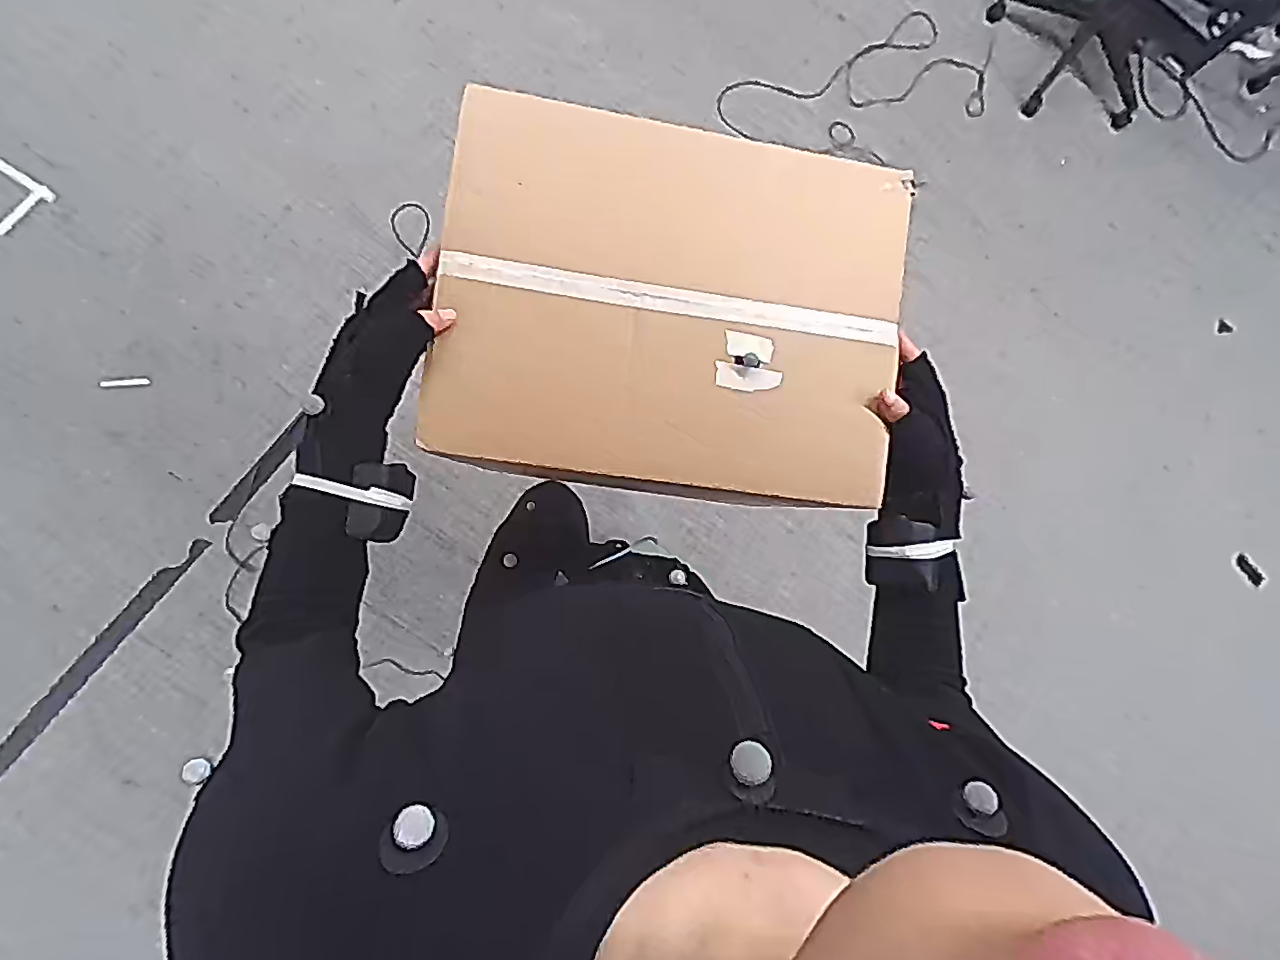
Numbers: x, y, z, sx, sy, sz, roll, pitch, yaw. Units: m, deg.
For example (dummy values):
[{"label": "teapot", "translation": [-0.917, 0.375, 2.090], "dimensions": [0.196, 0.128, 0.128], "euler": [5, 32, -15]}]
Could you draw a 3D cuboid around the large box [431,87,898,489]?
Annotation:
[{"label": "large box", "translation": [0.014, -0.164, 0.630], "dimensions": [0.408, 0.320, 0.320], "euler": [7, 89, -7]}]
